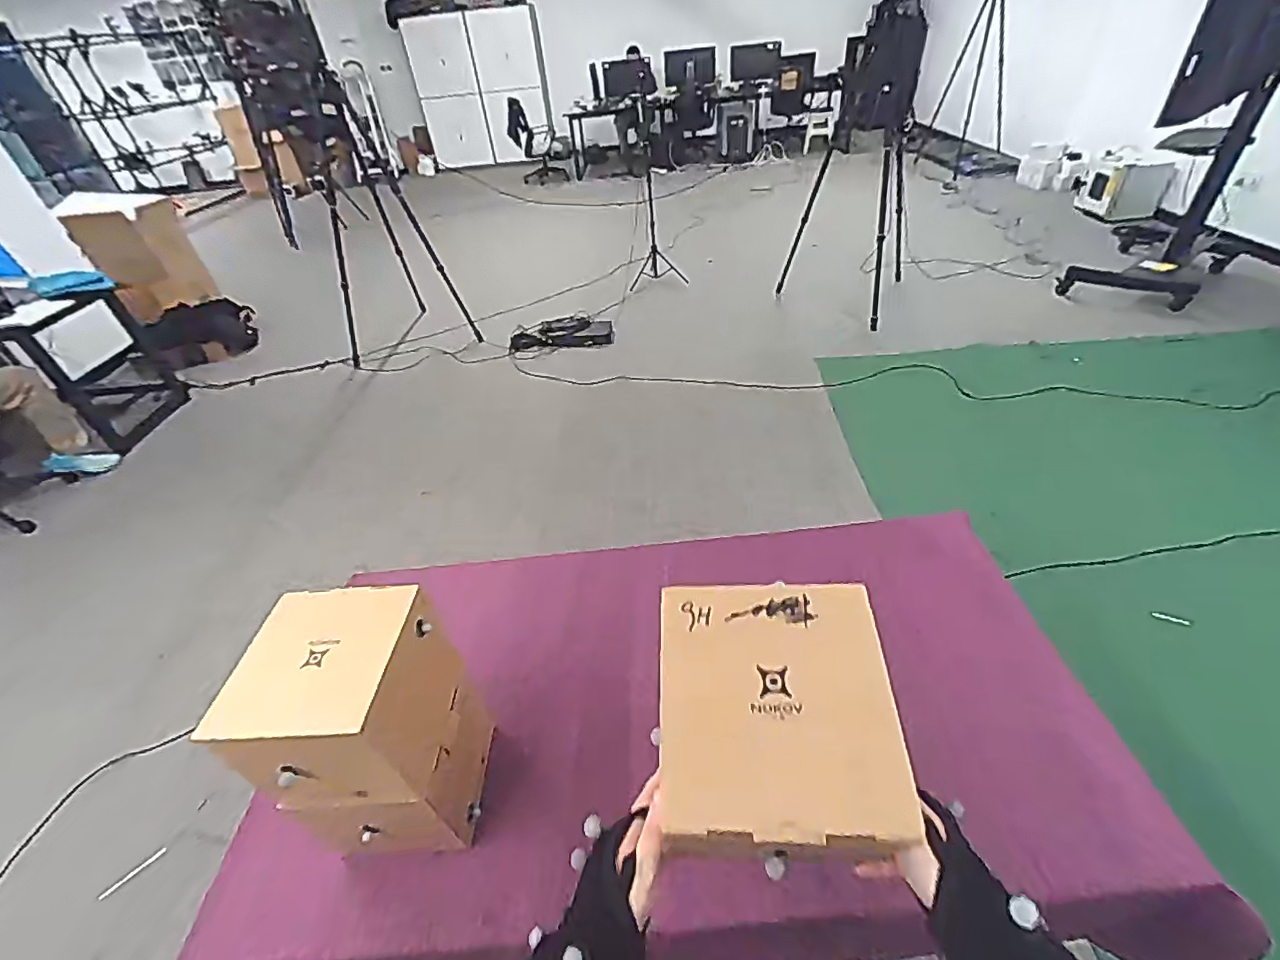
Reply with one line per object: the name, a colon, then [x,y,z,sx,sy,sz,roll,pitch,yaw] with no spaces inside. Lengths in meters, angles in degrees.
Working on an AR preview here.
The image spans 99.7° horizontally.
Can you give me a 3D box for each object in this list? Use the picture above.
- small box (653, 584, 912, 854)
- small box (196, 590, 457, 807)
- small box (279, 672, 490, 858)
small box: [0.103,0.204,0.456,0.168,0.176,0.179,-2,52,6]
small box: [-0.325,0.249,0.610,0.168,0.176,0.179,-4,38,3]
small box: [-0.313,0.375,0.712,0.179,0.176,0.168,-5,39,3]
